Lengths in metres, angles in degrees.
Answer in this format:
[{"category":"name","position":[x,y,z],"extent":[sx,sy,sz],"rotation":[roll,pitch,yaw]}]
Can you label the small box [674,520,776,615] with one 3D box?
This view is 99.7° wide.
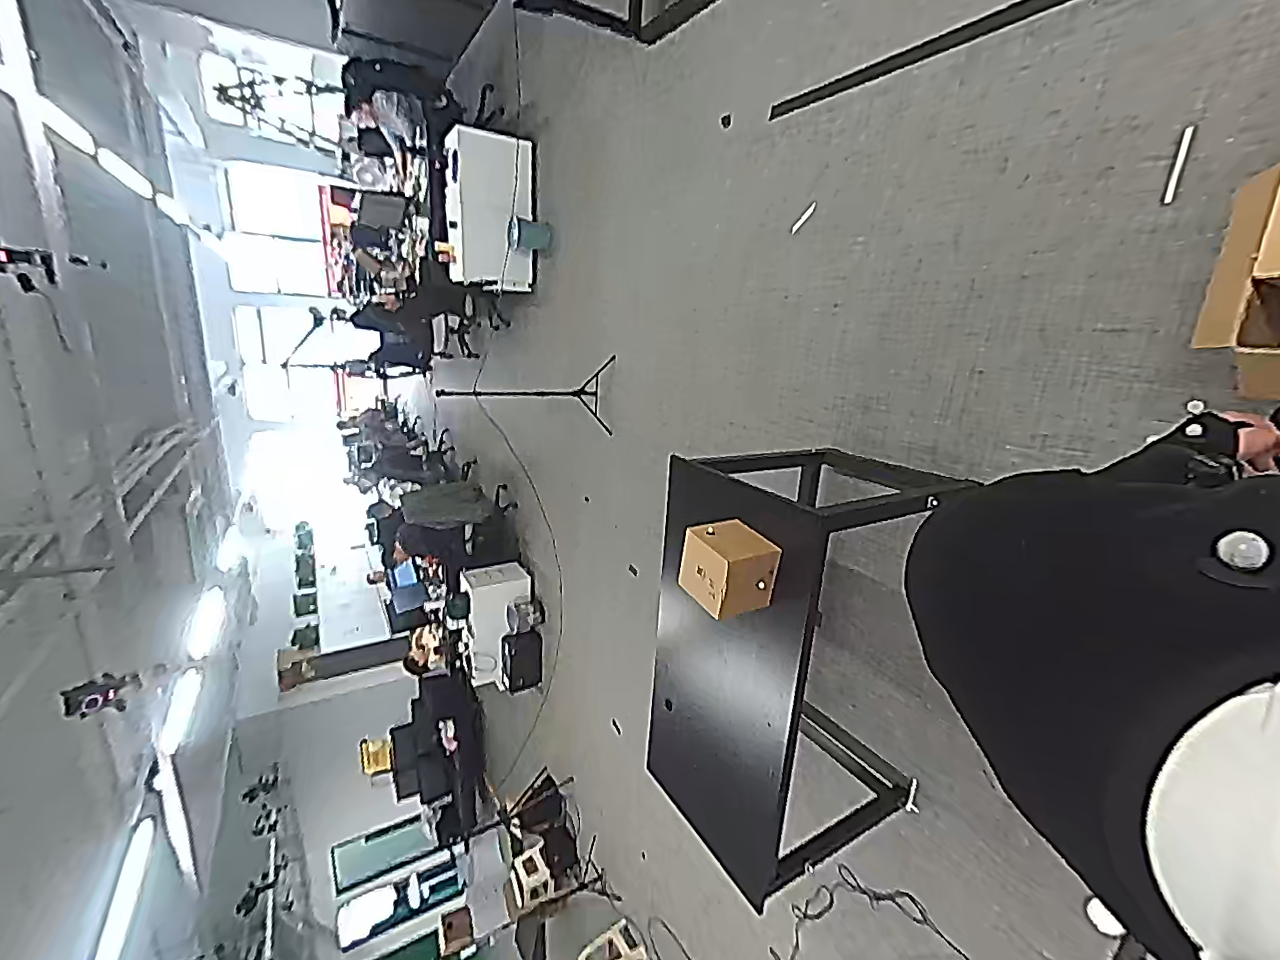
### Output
[{"category":"small box","position":[0.212,0.211,1.366],"extent":[0.179,0.176,0.168],"rotation":[38,128,51]}]
